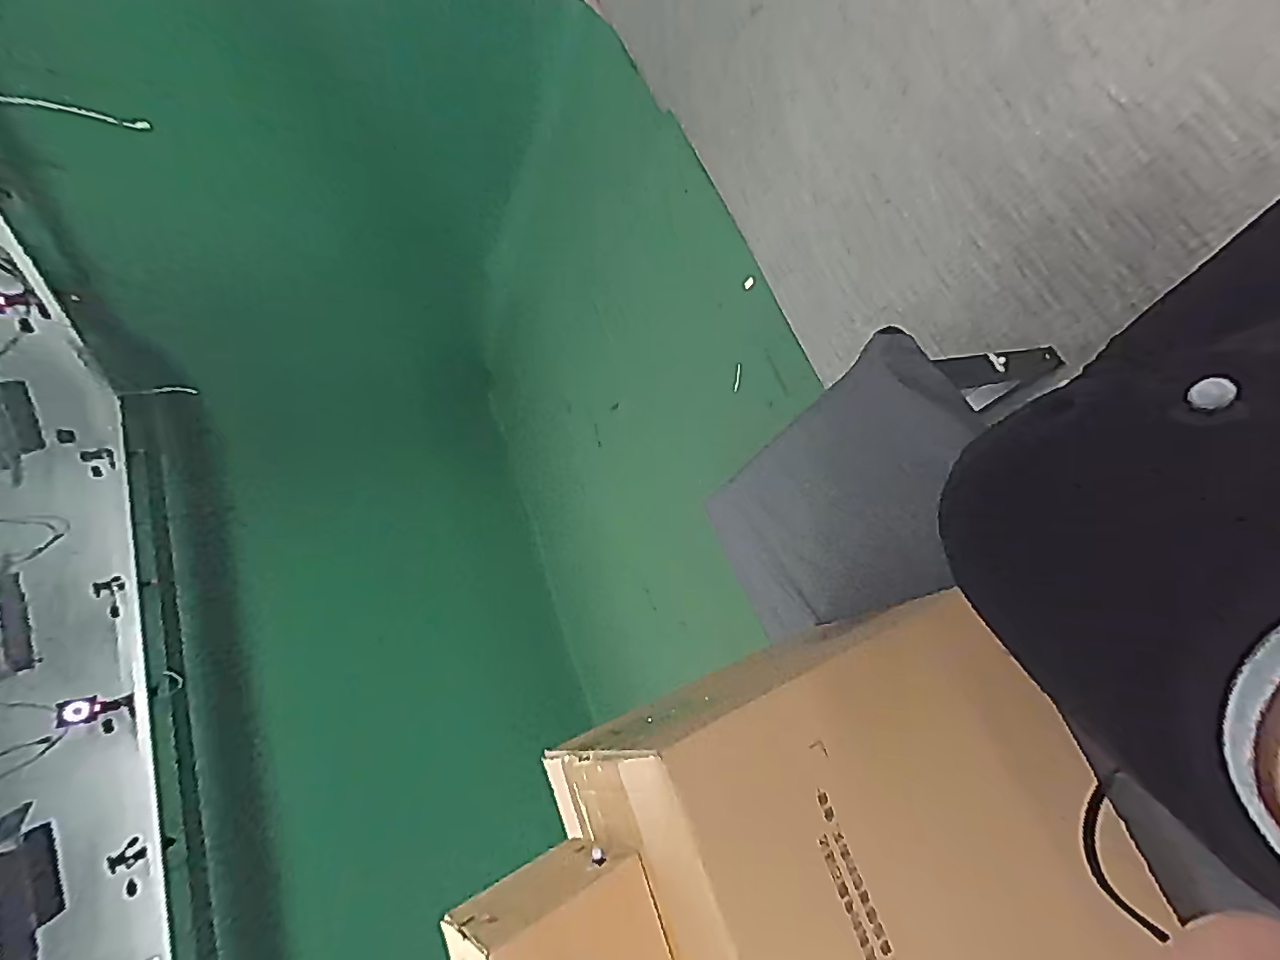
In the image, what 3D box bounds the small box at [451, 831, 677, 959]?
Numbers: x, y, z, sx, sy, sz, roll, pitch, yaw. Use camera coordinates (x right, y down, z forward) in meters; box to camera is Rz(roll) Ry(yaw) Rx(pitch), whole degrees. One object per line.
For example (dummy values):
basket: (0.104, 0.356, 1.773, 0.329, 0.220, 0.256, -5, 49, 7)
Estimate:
small box: (-0.074, 0.500, 0.563, 0.168, 0.176, 0.179, -40, 67, 50)
